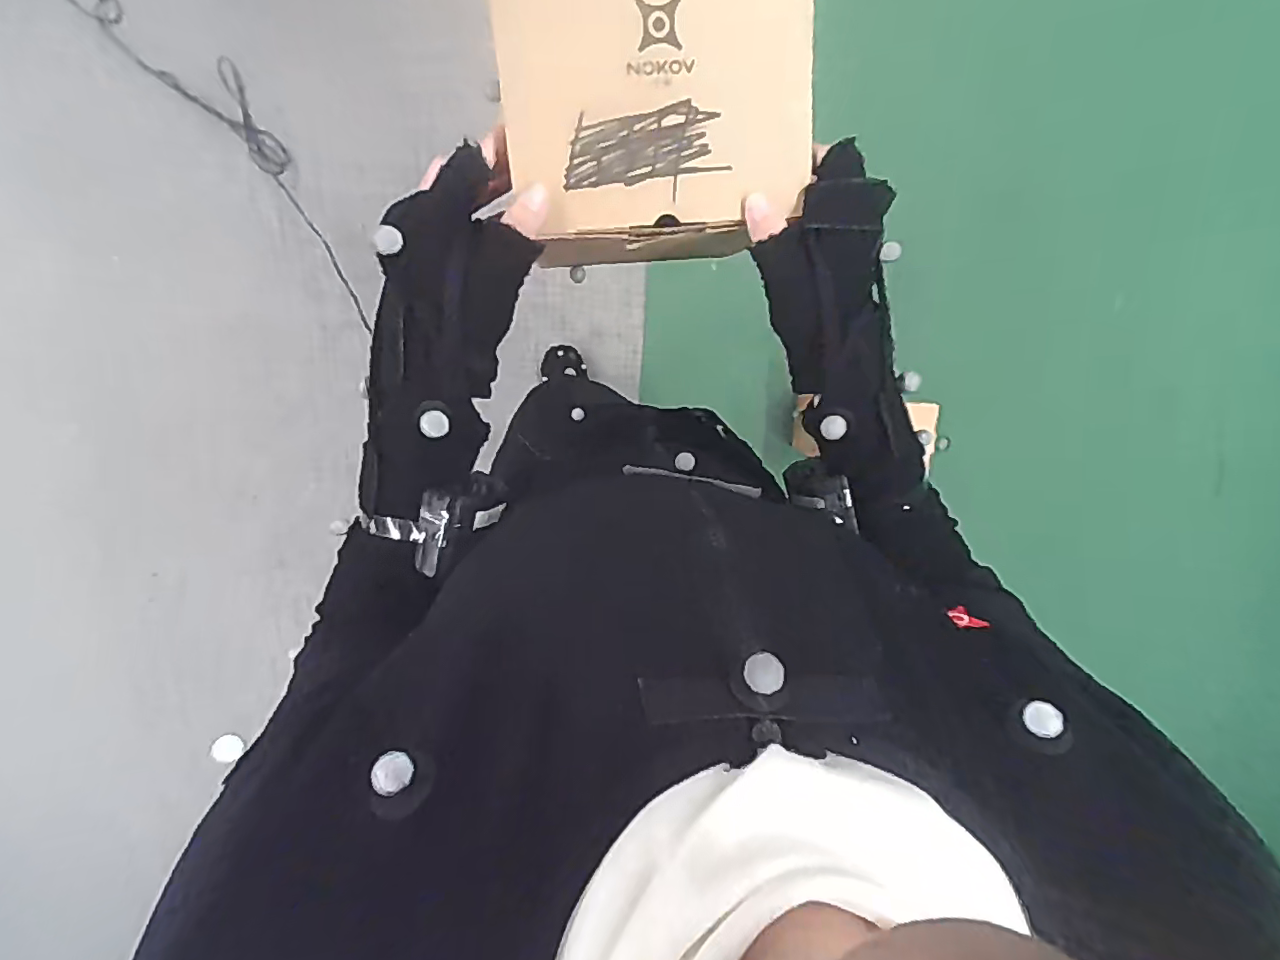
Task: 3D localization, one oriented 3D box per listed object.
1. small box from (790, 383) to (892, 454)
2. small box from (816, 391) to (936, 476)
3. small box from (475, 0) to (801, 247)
[{"bbox_3d":[0.500,-0.155,1.365,0.179,0.176,0.168,2,103,-4],"label":"small box"},{"bbox_3d":[0.518,-0.108,1.209,0.179,0.176,0.168,1,103,-6],"label":"small box"},{"bbox_3d":[-0.007,-0.253,0.348,0.168,0.176,0.179,-6,107,-5],"label":"small box"}]
